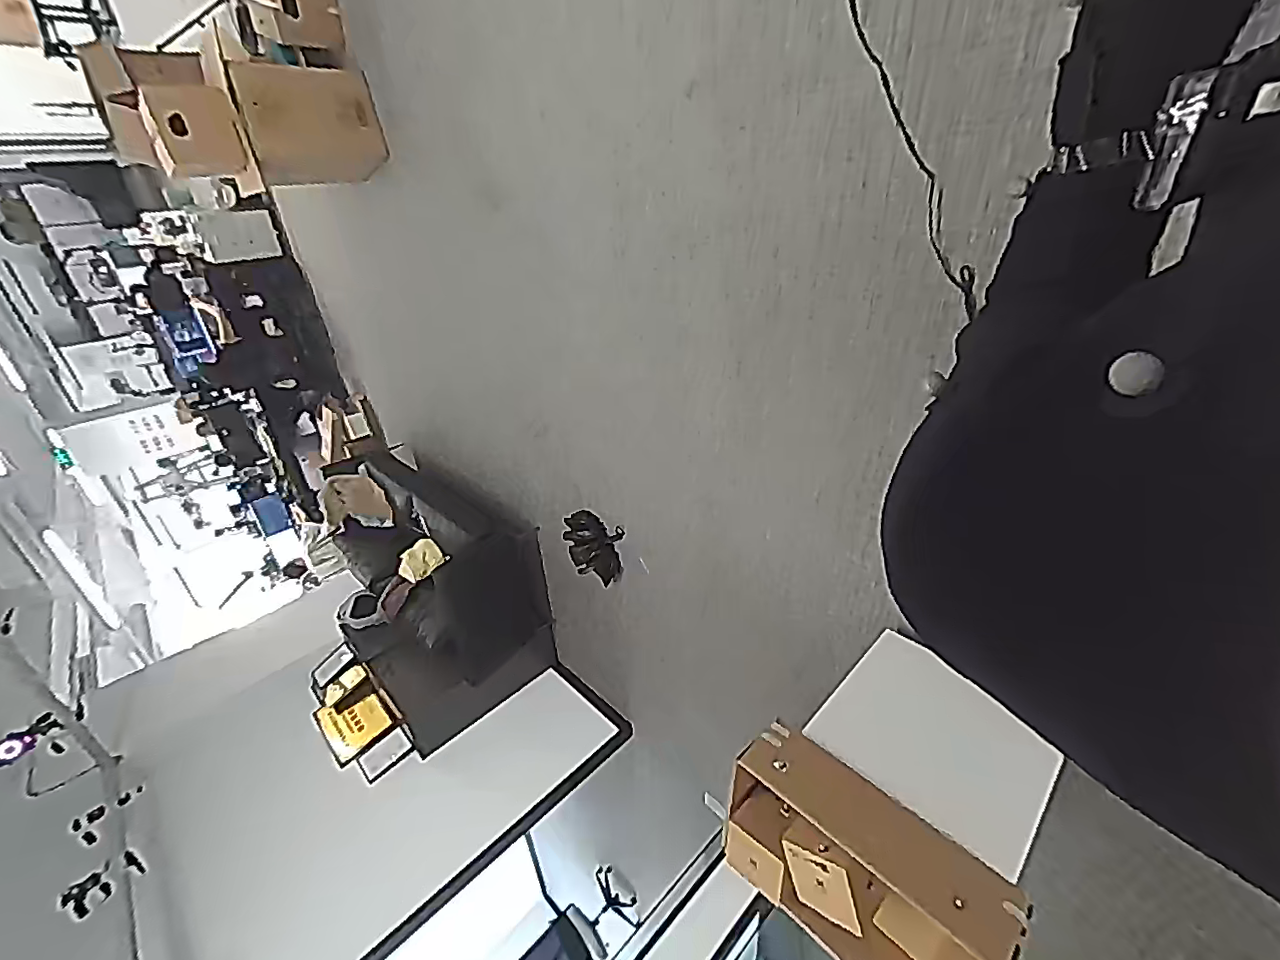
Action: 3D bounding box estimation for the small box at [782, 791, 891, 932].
[{"bbox_3d":[0.469,0.887,1.276,0.168,0.176,0.179,-8,102,49],"label":"small box"}]
